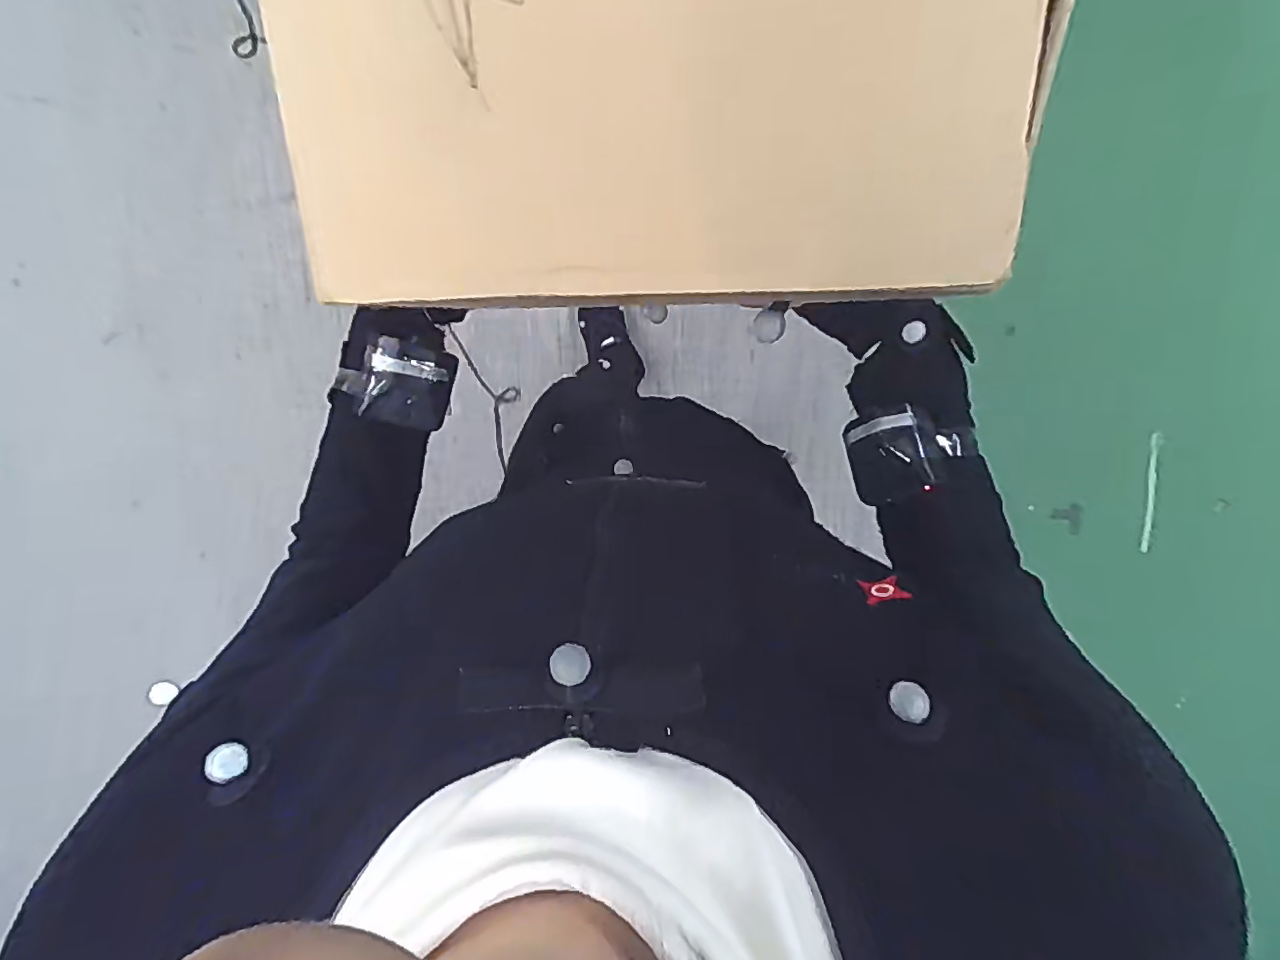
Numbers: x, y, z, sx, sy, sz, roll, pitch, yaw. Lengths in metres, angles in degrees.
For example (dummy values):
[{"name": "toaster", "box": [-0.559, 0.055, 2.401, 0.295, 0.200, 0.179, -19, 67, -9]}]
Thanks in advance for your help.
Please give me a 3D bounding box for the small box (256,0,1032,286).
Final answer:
[{"name": "small box", "box": [0.001, -0.159, 0.188, 0.179, 0.176, 0.168, -1, 107, 3]}]
